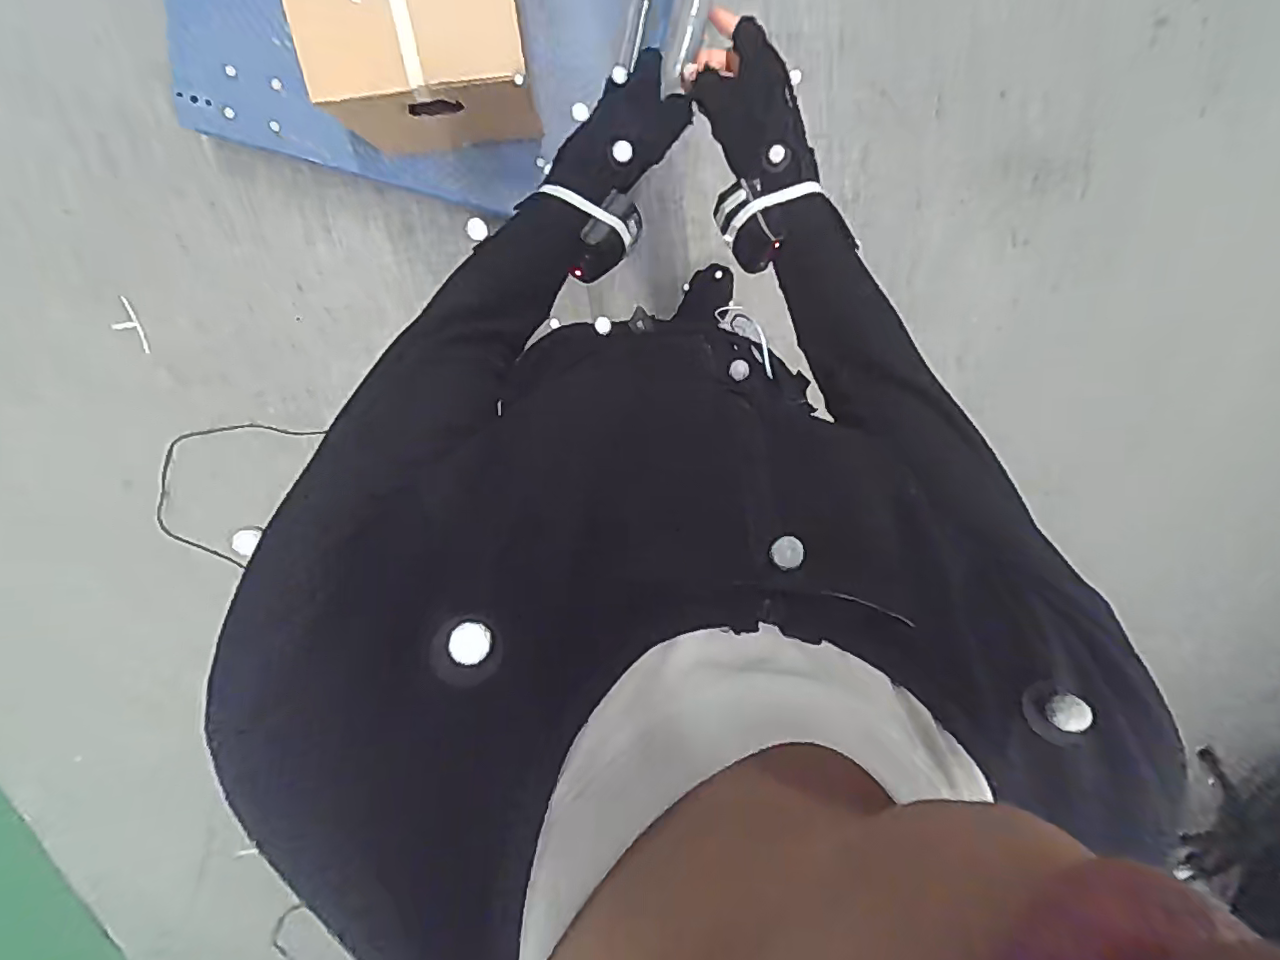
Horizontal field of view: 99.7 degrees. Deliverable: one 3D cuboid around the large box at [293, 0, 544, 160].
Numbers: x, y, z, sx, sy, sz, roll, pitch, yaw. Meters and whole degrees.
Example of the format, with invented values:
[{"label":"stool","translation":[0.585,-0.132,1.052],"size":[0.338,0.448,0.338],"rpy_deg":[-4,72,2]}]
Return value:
[{"label":"large box","translation":[-0.353,-0.795,0.875],"size":[0.320,0.320,0.408],"rpy_deg":[-9,109,-1]}]
